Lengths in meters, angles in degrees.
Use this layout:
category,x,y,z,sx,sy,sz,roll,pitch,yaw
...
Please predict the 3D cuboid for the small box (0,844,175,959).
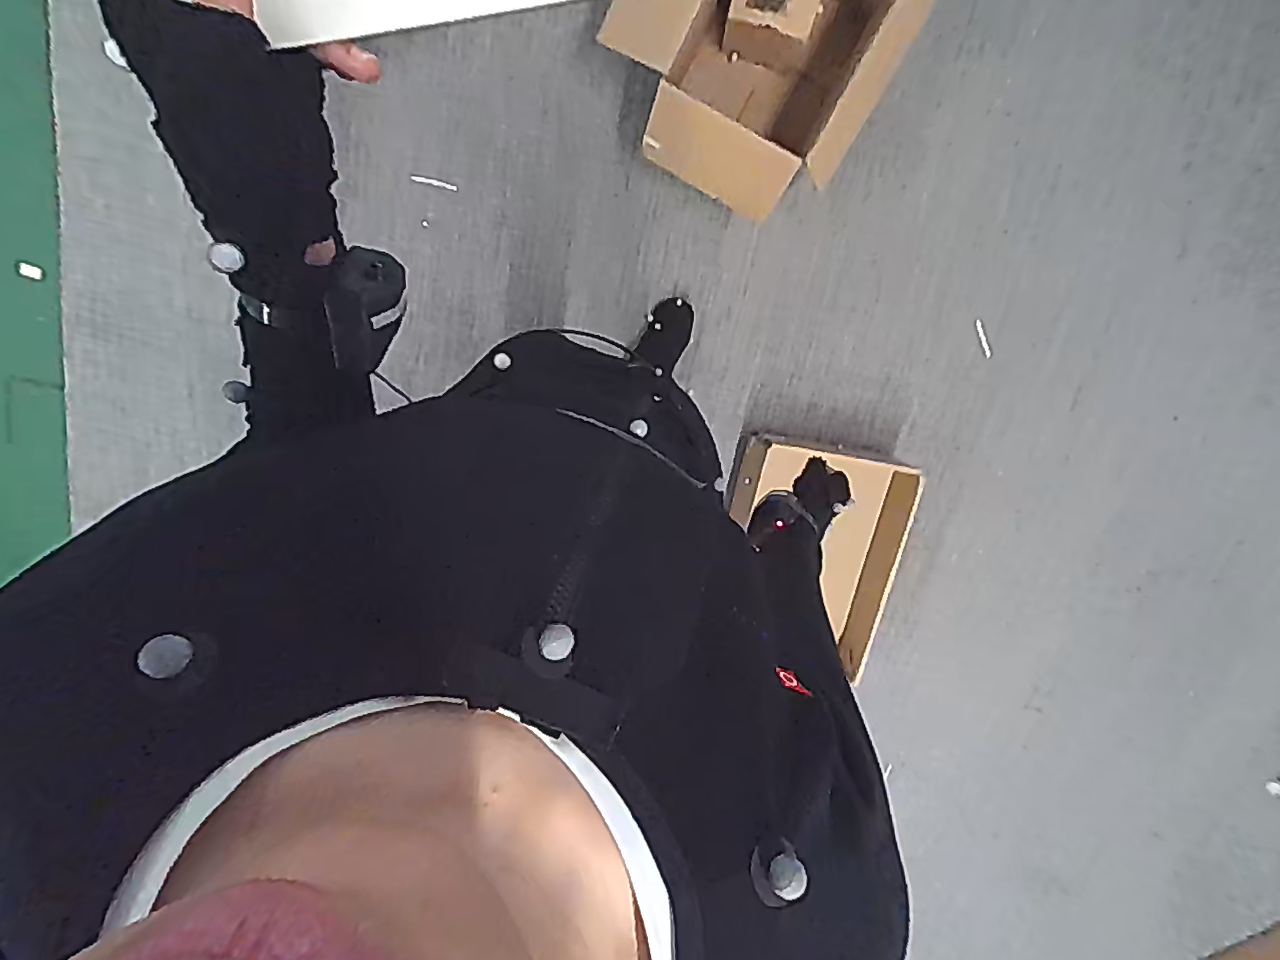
category,x,y,z,sx,sy,sz,roll,pitch,yaw
small box,-0.866,0.713,0.828,0.168,0.176,0.179,19,104,-6
